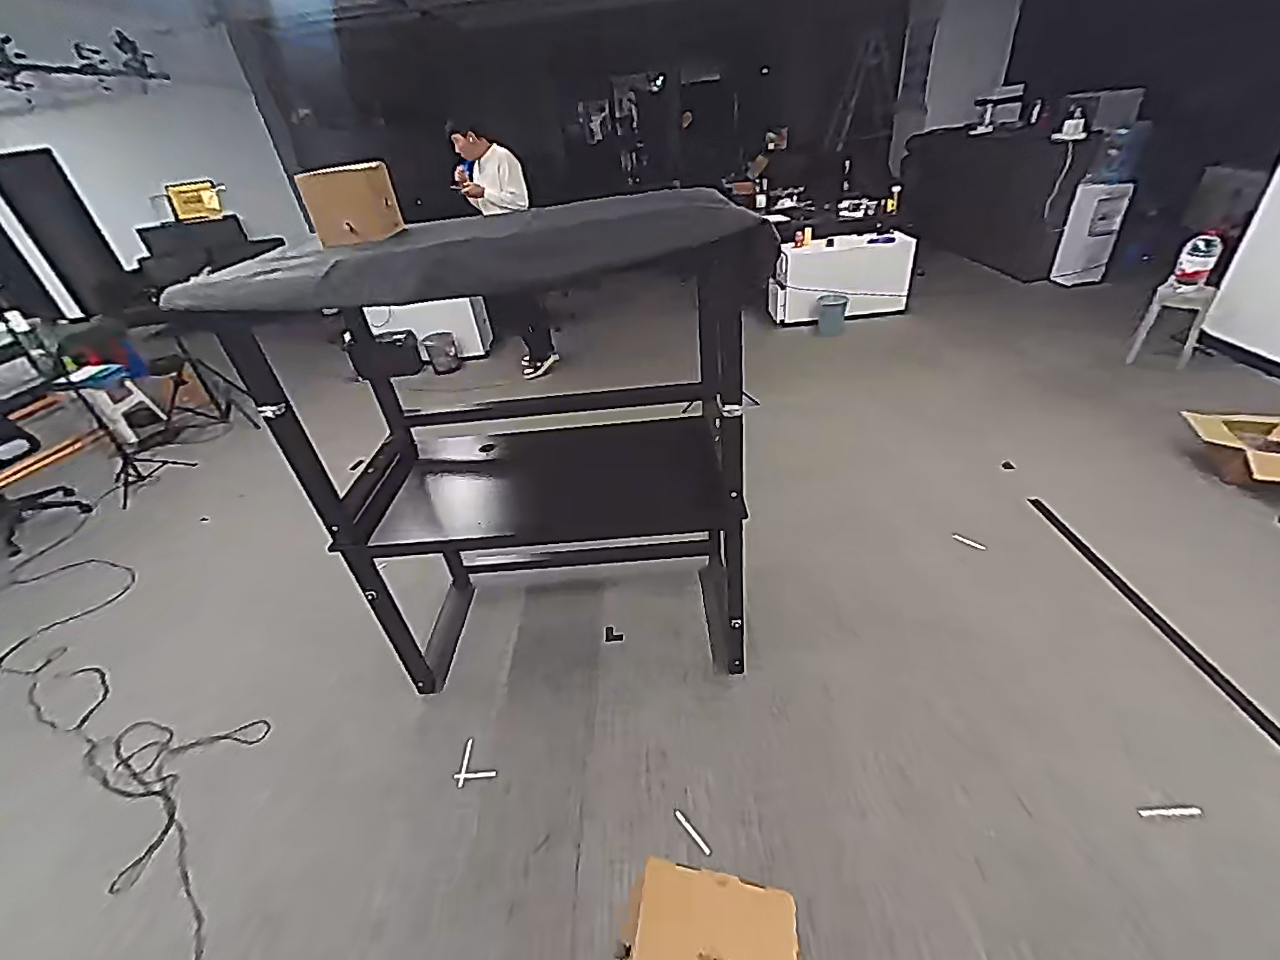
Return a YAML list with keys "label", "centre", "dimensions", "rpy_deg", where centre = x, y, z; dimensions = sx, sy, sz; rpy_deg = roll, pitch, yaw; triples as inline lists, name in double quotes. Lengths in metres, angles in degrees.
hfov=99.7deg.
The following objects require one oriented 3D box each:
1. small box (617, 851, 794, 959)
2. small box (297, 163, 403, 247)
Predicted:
- label: "small box"
  centre: [0.060, 0.539, 0.573]
  dimensions: [0.168, 0.176, 0.179]
  rpy_deg: [12, 38, 3]
- label: "small box"
  centre: [-0.761, -0.735, 1.444]
  dimensions: [0.179, 0.176, 0.168]
  rpy_deg: [-6, 35, 1]
